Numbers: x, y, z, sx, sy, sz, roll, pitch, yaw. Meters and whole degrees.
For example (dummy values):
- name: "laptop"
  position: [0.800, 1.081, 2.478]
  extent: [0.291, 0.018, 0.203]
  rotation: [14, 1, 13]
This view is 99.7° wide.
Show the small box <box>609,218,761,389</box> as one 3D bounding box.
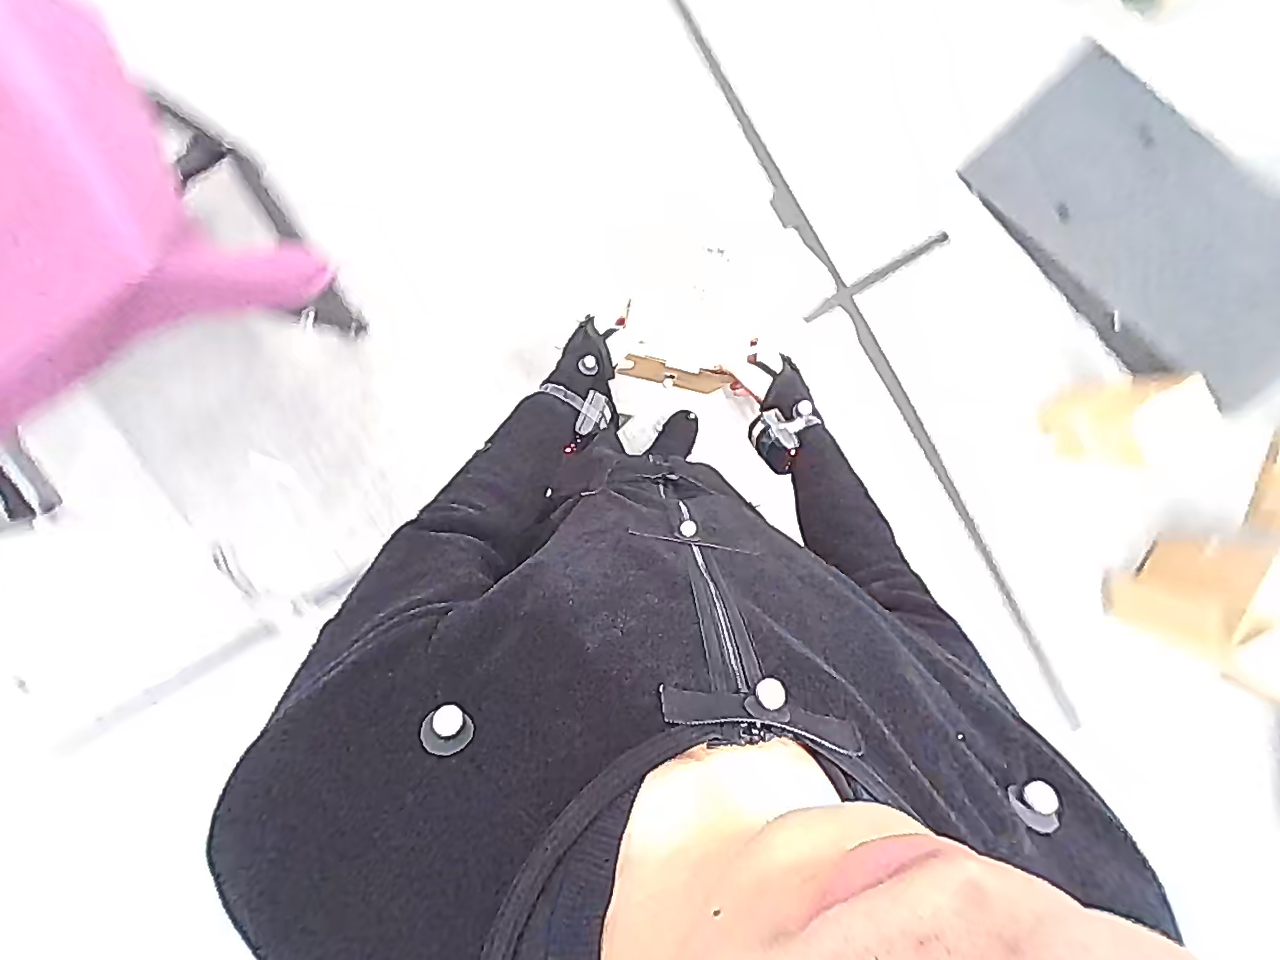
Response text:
- name: "small box"
  position: [0.052, -0.236, 0.777]
  extent: [0.168, 0.176, 0.179]
  rotation: [11, 91, -9]
